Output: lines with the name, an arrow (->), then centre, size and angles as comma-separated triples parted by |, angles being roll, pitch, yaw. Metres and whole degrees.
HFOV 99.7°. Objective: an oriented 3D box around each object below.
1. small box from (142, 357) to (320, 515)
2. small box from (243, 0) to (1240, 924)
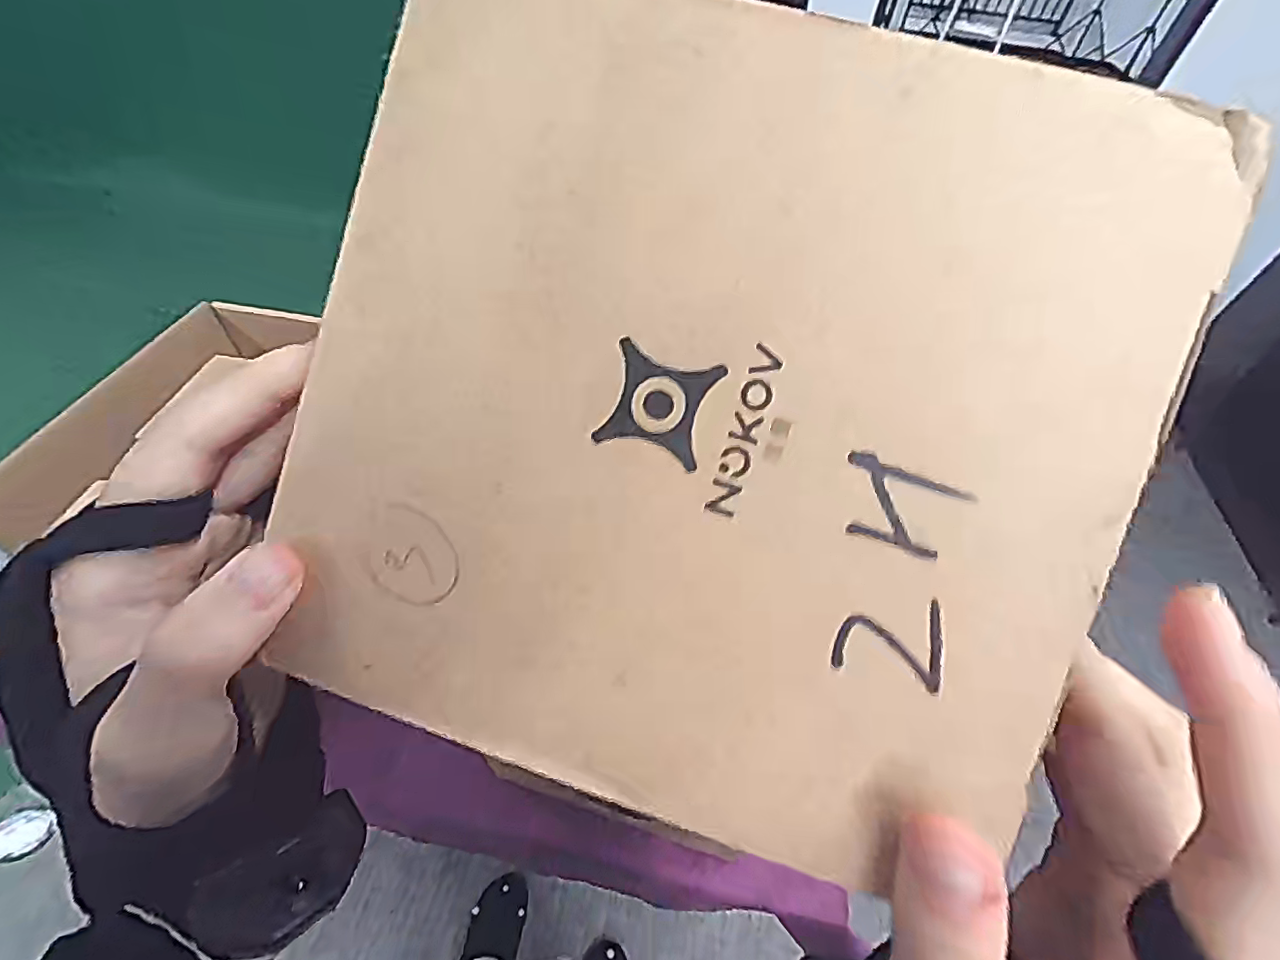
small box -> -0.567, -0.059, 0.818 | 0.168, 0.176, 0.179 | 7, 50, 2
small box -> 0.018, -0.011, 0.197 | 0.179, 0.176, 0.168 | 18, 95, 5
